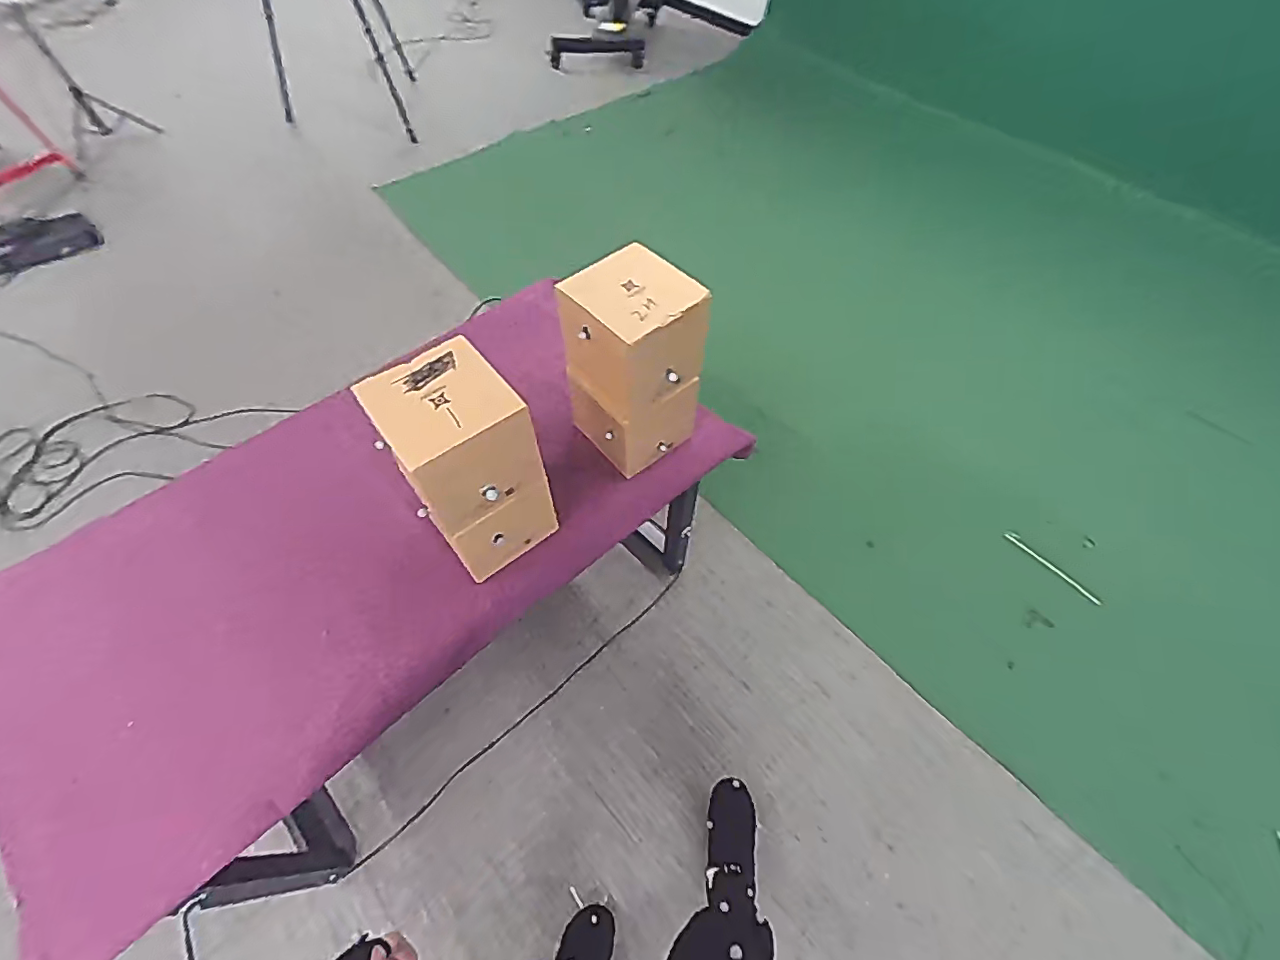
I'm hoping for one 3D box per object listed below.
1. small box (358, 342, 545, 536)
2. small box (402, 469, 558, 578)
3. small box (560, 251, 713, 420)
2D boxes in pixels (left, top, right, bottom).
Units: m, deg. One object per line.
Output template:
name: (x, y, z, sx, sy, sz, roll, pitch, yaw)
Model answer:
small box: (-0.255, -0.054, 0.763, 0.168, 0.176, 0.179, -34, 62, -20)
small box: (-0.254, 0.040, 0.897, 0.168, 0.176, 0.179, -34, 62, -21)
small box: (-0.007, -0.230, 0.877, 0.168, 0.176, 0.179, -36, 64, -20)
